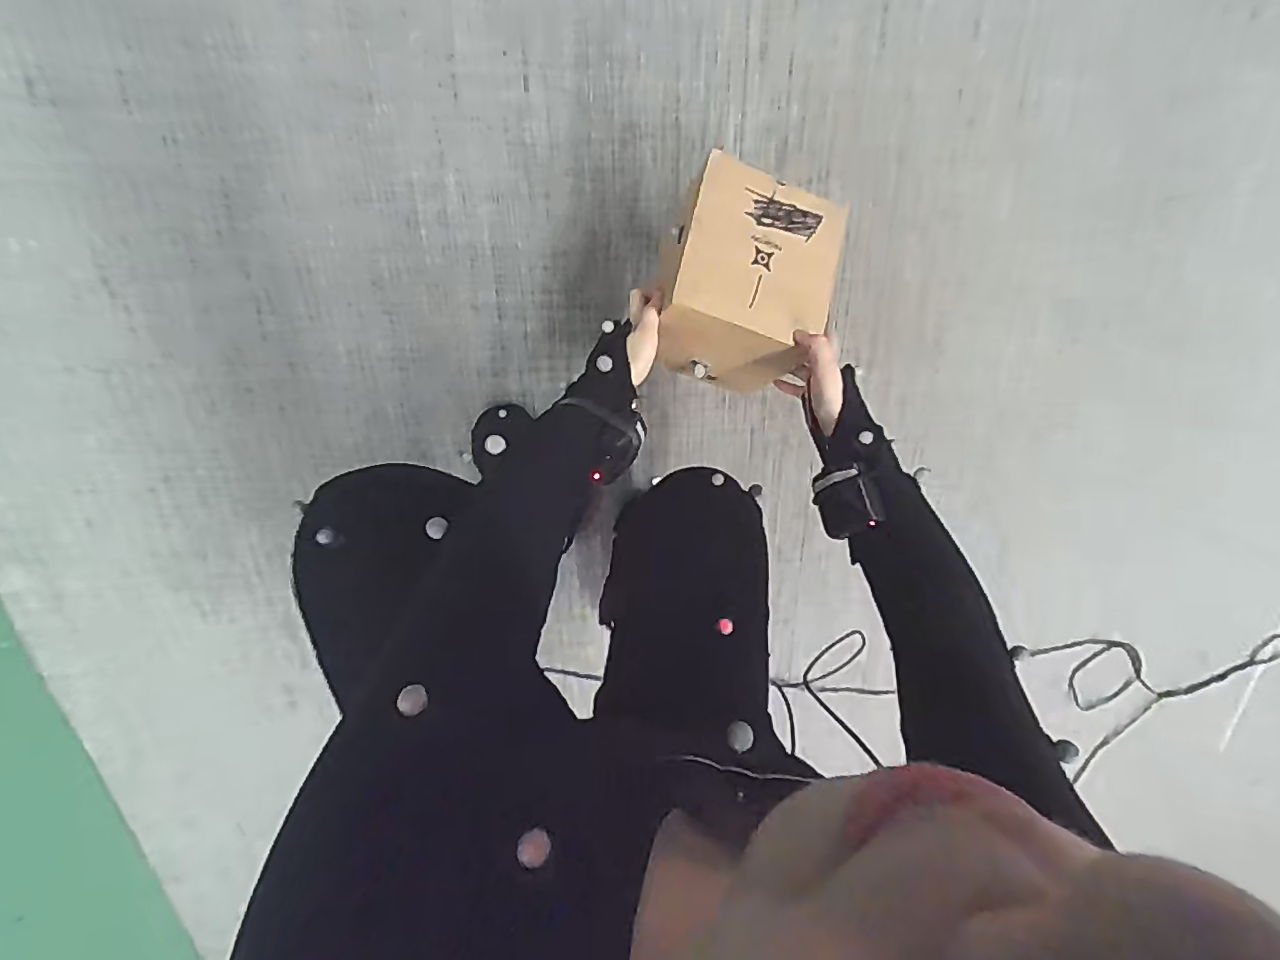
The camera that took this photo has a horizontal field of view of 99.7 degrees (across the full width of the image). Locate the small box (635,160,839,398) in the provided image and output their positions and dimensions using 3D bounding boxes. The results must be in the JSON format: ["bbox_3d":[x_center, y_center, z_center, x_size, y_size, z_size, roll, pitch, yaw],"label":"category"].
[{"bbox_3d":[0.103,-0.218,0.636,0.168,0.176,0.179,16,80,-12],"label":"small box"}]
